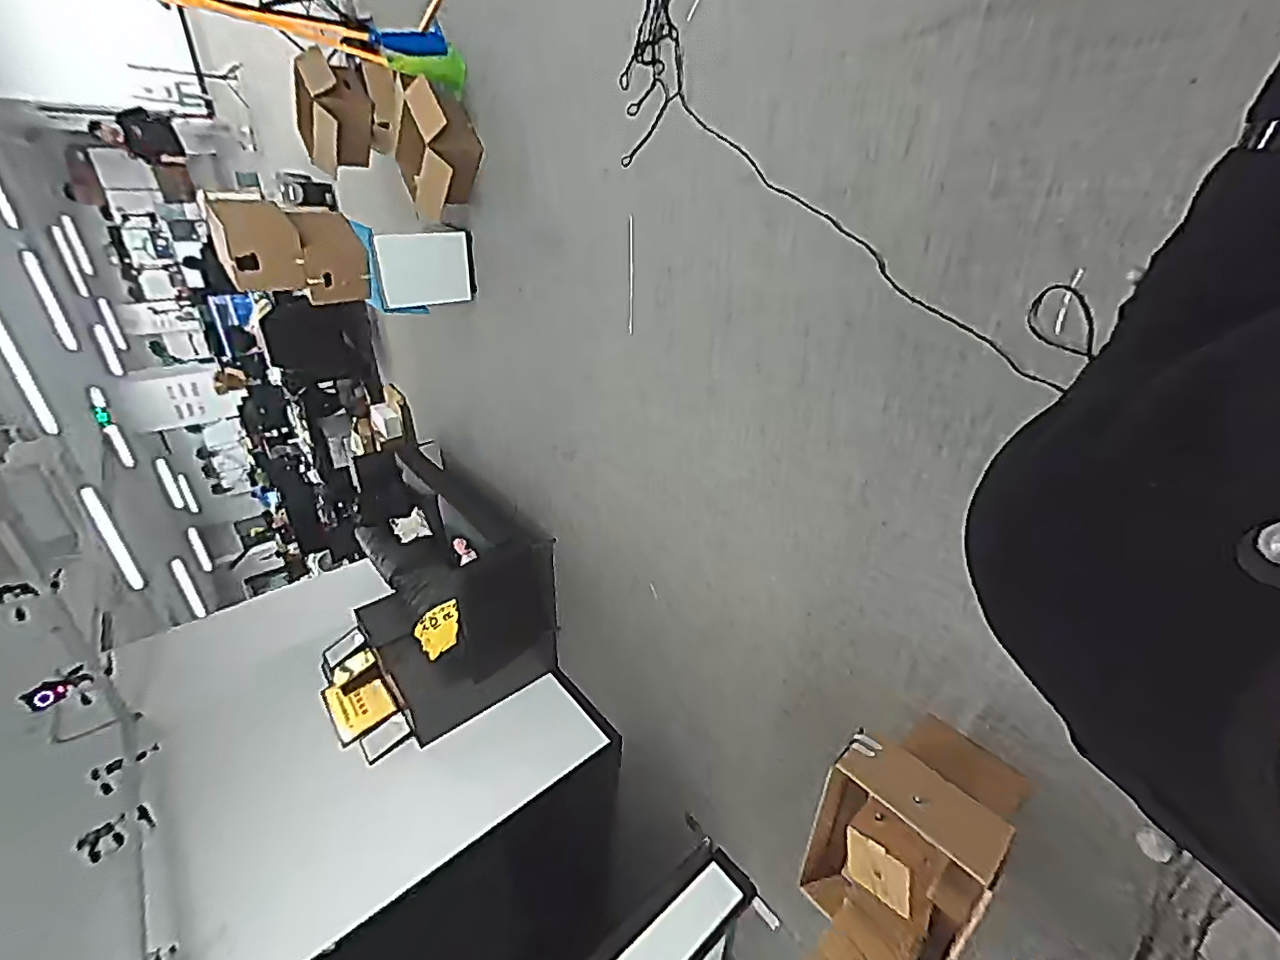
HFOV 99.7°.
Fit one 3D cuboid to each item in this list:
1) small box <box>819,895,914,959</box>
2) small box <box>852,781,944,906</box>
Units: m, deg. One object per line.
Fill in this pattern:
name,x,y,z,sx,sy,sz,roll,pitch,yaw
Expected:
small box,0.585,1.245,1.418,0.179,0.176,0.168,23,125,44
small box,0.680,0.943,1.423,0.168,0.176,0.179,14,119,50
